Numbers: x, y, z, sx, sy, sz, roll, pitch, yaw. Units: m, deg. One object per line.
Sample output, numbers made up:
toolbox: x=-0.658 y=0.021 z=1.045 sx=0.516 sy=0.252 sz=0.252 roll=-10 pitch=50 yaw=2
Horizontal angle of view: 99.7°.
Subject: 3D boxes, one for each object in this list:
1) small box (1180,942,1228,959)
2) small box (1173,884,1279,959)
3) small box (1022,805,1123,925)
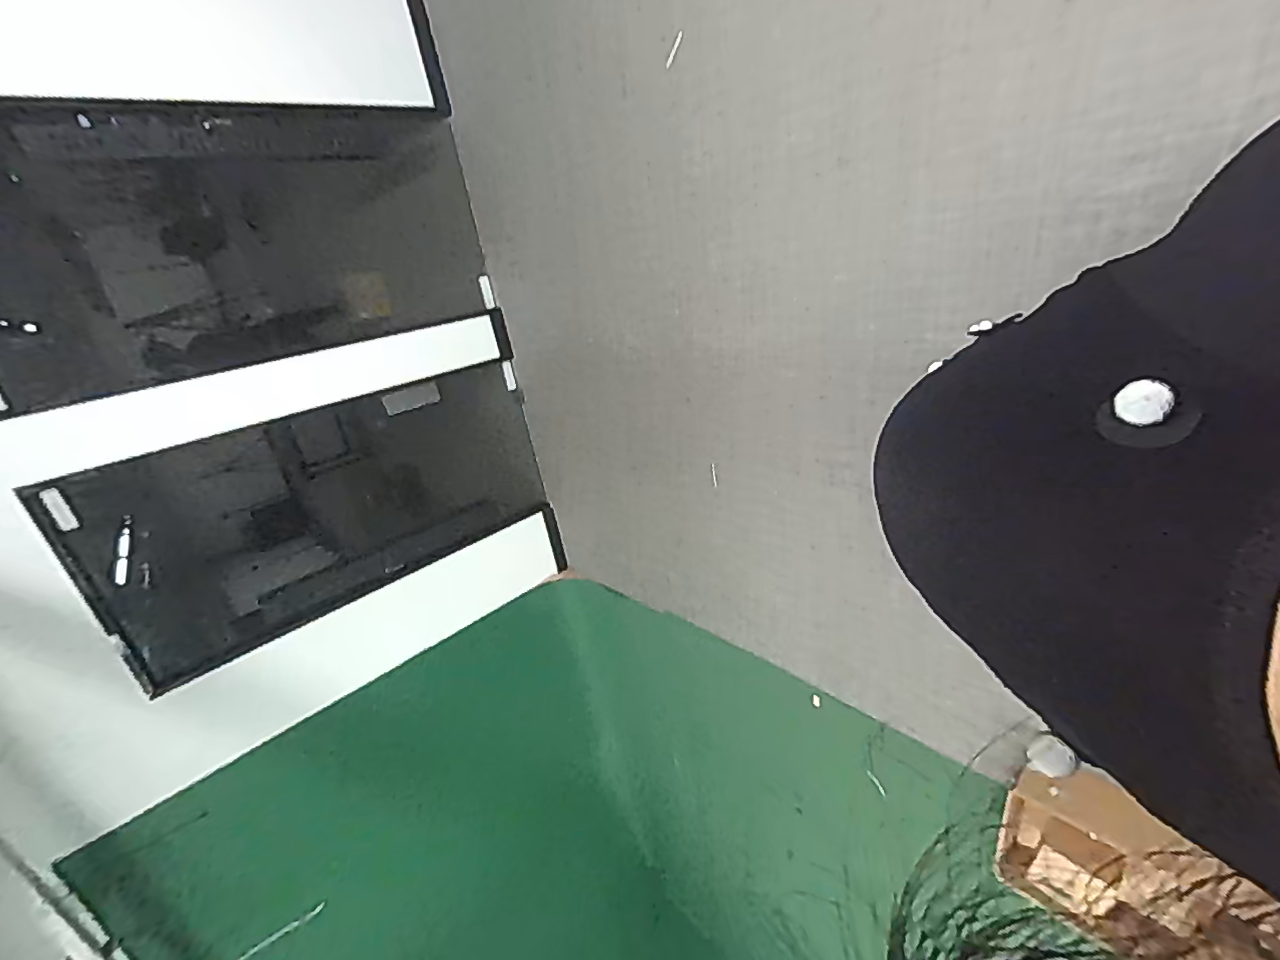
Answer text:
small box: x=1.289 y=1.177 z=1.175 sx=0.179 sy=0.176 sz=0.168 roll=7 pitch=115 yaw=52
small box: x=1.407 y=1.119 z=1.275 sx=0.179 sy=0.176 sz=0.168 roll=18 pitch=124 yaw=44
small box: x=1.199 y=1.057 z=1.497 sx=0.168 sy=0.176 sz=0.179 roll=24 pitch=127 yaw=41
